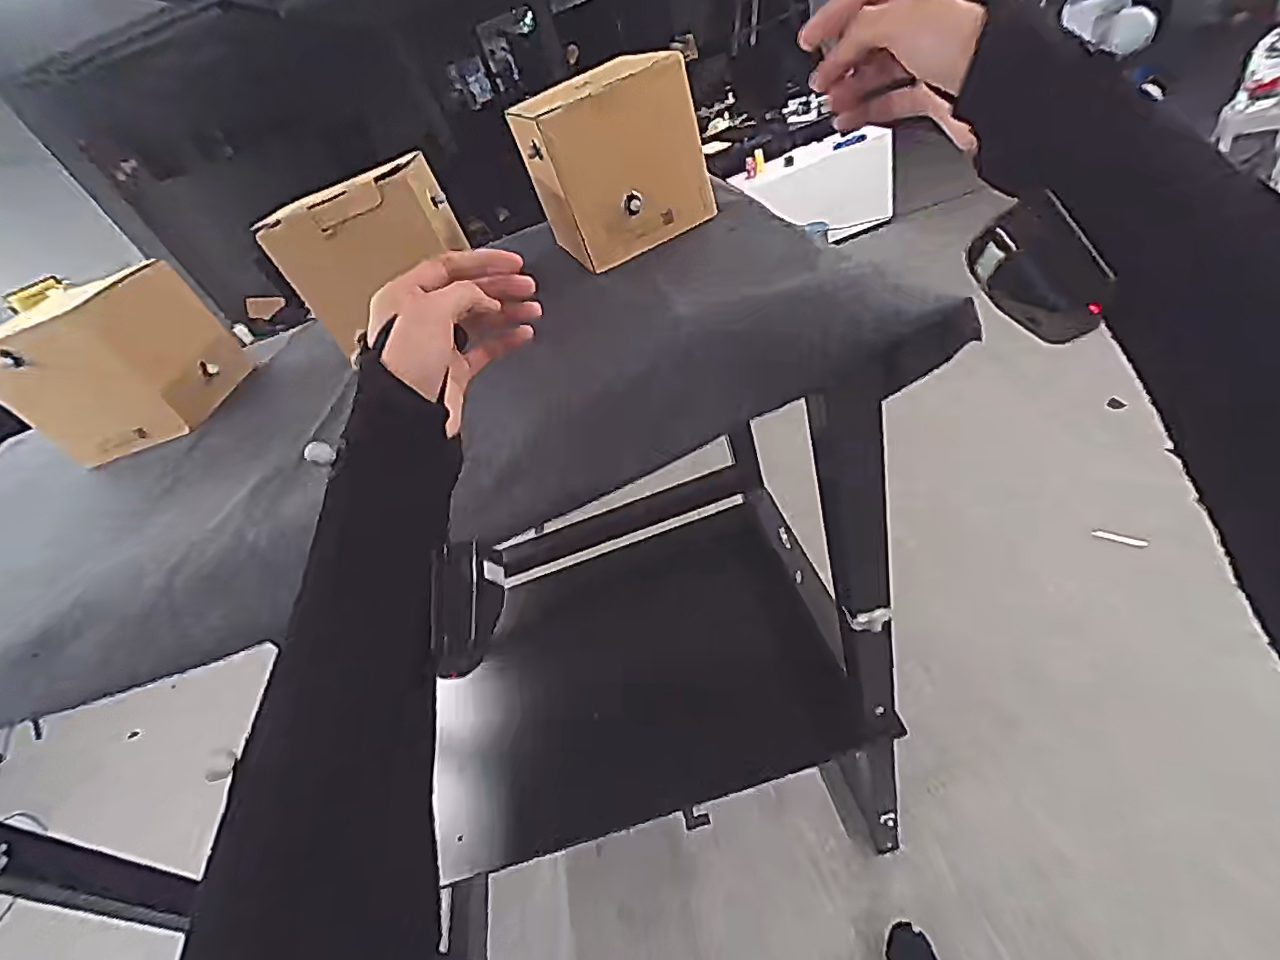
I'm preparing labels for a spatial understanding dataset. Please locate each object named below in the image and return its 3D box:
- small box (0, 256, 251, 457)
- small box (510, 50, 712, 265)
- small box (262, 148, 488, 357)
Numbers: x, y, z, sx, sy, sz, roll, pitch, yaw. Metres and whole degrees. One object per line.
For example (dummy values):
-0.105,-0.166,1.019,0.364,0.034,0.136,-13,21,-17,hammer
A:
-0.655,-0.158,0.696,0.168,0.176,0.179,-17,39,7,small box
-0.034,-0.384,0.654,0.168,0.176,0.179,-28,41,-5,small box
-0.297,-0.270,0.652,0.168,0.176,0.179,-21,38,1,small box
